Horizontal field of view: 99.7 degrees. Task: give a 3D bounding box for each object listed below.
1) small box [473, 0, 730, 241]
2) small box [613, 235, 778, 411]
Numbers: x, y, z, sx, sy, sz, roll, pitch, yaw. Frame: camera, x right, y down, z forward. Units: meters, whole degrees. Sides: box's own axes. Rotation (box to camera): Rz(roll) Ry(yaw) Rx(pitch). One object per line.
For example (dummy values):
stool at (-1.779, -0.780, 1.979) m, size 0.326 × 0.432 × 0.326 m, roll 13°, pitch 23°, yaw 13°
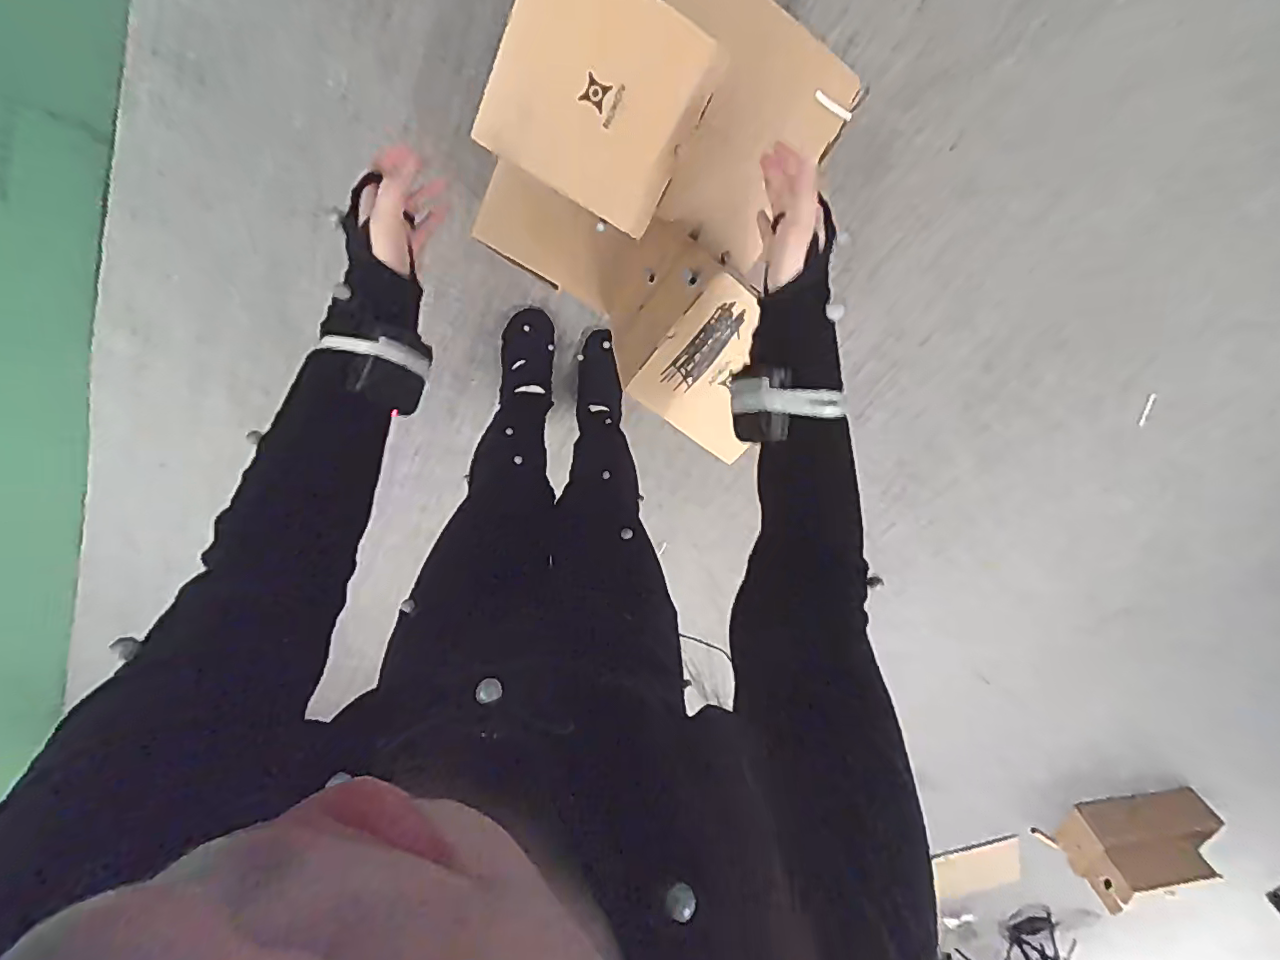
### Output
small box at (-0.044, -0.366, 0.539) m, size 0.179 × 0.176 × 0.168 m, roll 23°, pitch 115°, yaw -20°
small box at (0.070, -0.243, 0.817) m, size 0.168 × 0.176 × 0.179 m, roll 28°, pitch 114°, yaw -22°
